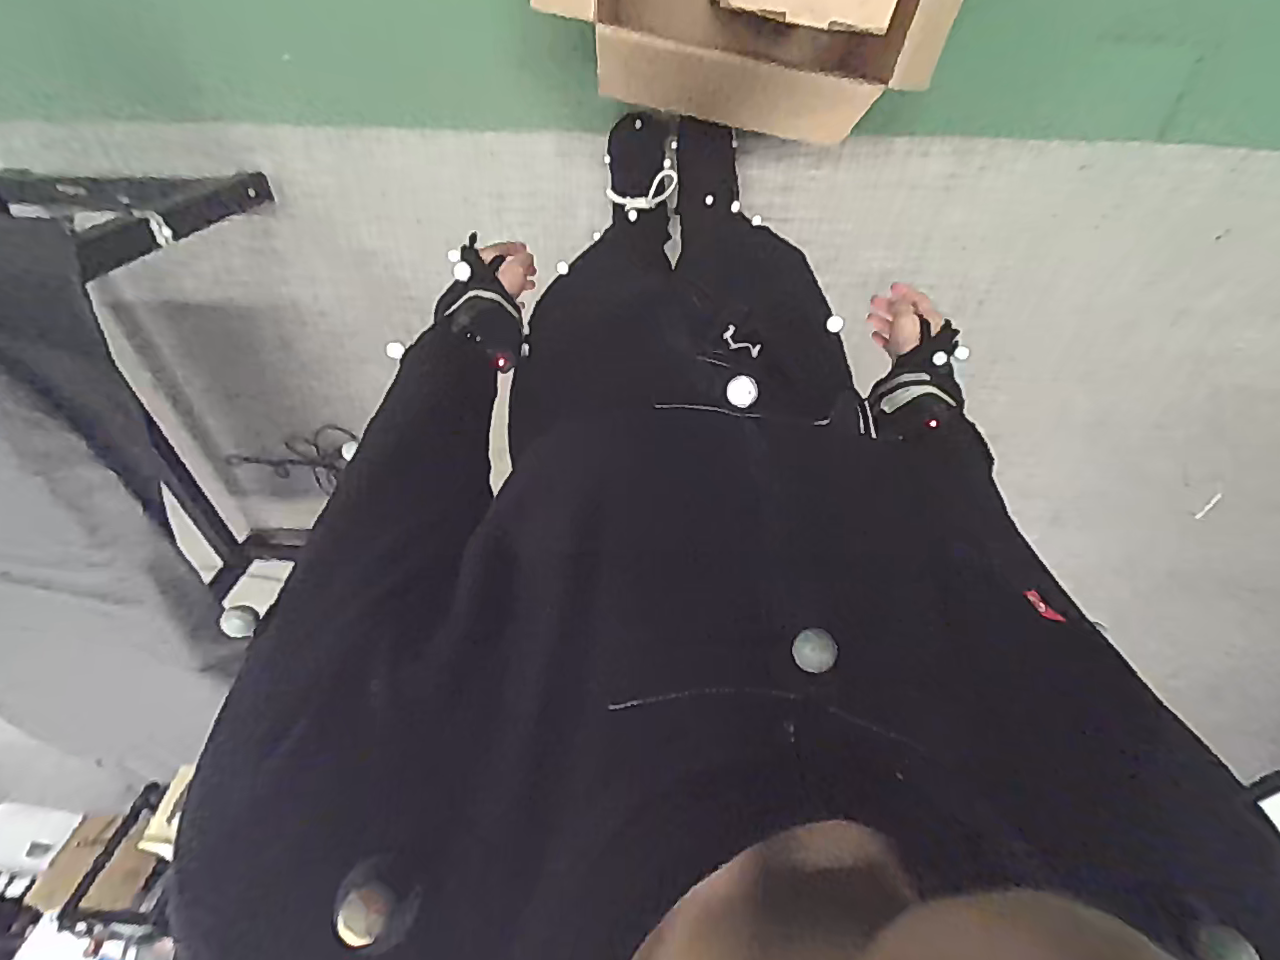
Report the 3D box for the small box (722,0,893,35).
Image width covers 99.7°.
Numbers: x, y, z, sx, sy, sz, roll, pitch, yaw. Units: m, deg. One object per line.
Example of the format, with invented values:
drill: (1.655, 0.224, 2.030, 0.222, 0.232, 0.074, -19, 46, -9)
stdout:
small box: (0.180, -0.574, 0.545, 0.168, 0.176, 0.179, 7, 130, -2)
